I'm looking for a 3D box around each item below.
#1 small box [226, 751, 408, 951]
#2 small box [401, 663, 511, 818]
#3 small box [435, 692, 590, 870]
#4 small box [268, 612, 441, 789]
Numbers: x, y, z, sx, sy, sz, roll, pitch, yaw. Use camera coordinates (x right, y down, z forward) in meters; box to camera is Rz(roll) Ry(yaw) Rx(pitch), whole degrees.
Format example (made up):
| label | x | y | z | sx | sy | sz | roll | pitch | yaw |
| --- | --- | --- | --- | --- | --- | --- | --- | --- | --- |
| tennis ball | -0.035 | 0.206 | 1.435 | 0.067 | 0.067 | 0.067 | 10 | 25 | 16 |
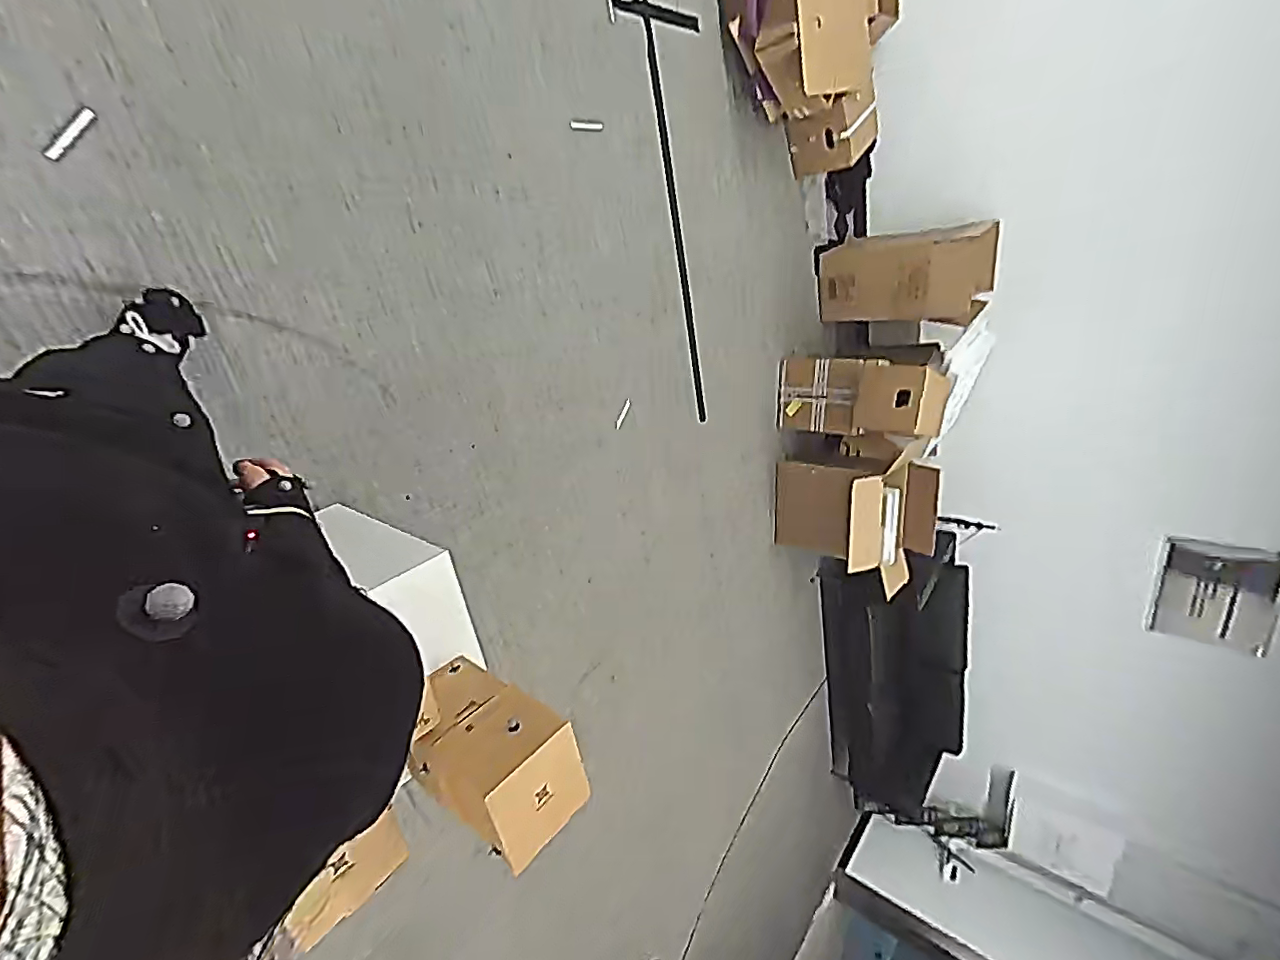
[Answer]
| label | x | y | z | sx | sy | sz | roll | pitch | yaw |
| --- | --- | --- | --- | --- | --- | --- | --- | --- | --- |
| small box | -0.499 | 0.551 | 0.841 | 0.168 | 0.176 | 0.179 | -31 | 118 | -44 |
| small box | -0.338 | 0.465 | 1.004 | 0.168 | 0.176 | 0.179 | -28 | 118 | -42 |
| small box | -0.213 | 0.482 | 0.902 | 0.168 | 0.176 | 0.179 | -31 | 120 | -40 |
| small box | -0.448 | 0.327 | 0.850 | 0.168 | 0.176 | 0.179 | -27 | 117 | -43 |
